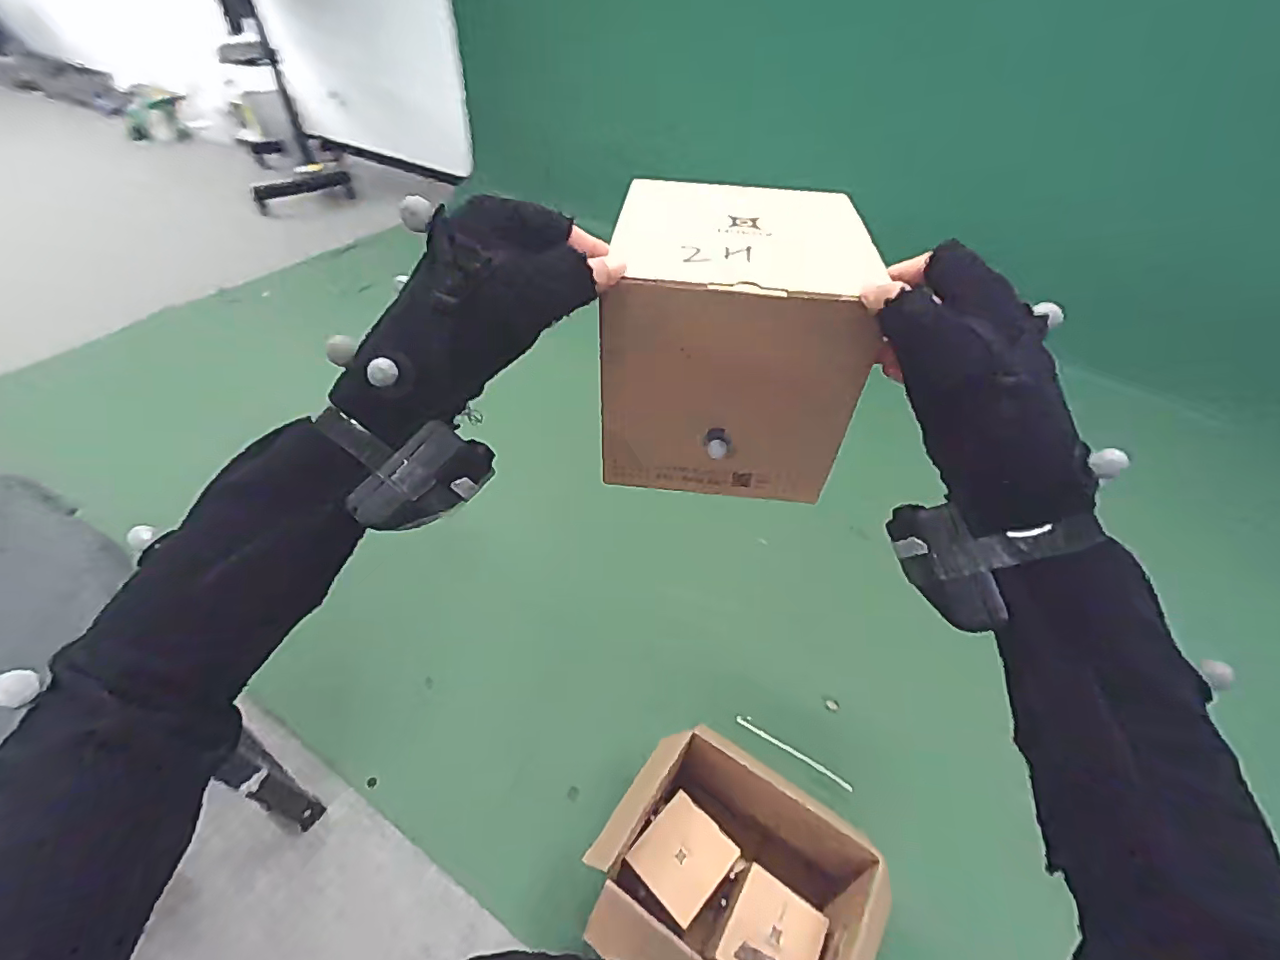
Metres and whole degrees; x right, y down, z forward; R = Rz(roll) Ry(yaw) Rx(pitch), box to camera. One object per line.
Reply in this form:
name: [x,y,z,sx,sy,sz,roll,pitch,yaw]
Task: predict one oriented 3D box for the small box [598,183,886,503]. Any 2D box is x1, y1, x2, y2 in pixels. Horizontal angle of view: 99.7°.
small box: [0.060,-0.107,0.417,0.168,0.176,0.179,5,45,2]
